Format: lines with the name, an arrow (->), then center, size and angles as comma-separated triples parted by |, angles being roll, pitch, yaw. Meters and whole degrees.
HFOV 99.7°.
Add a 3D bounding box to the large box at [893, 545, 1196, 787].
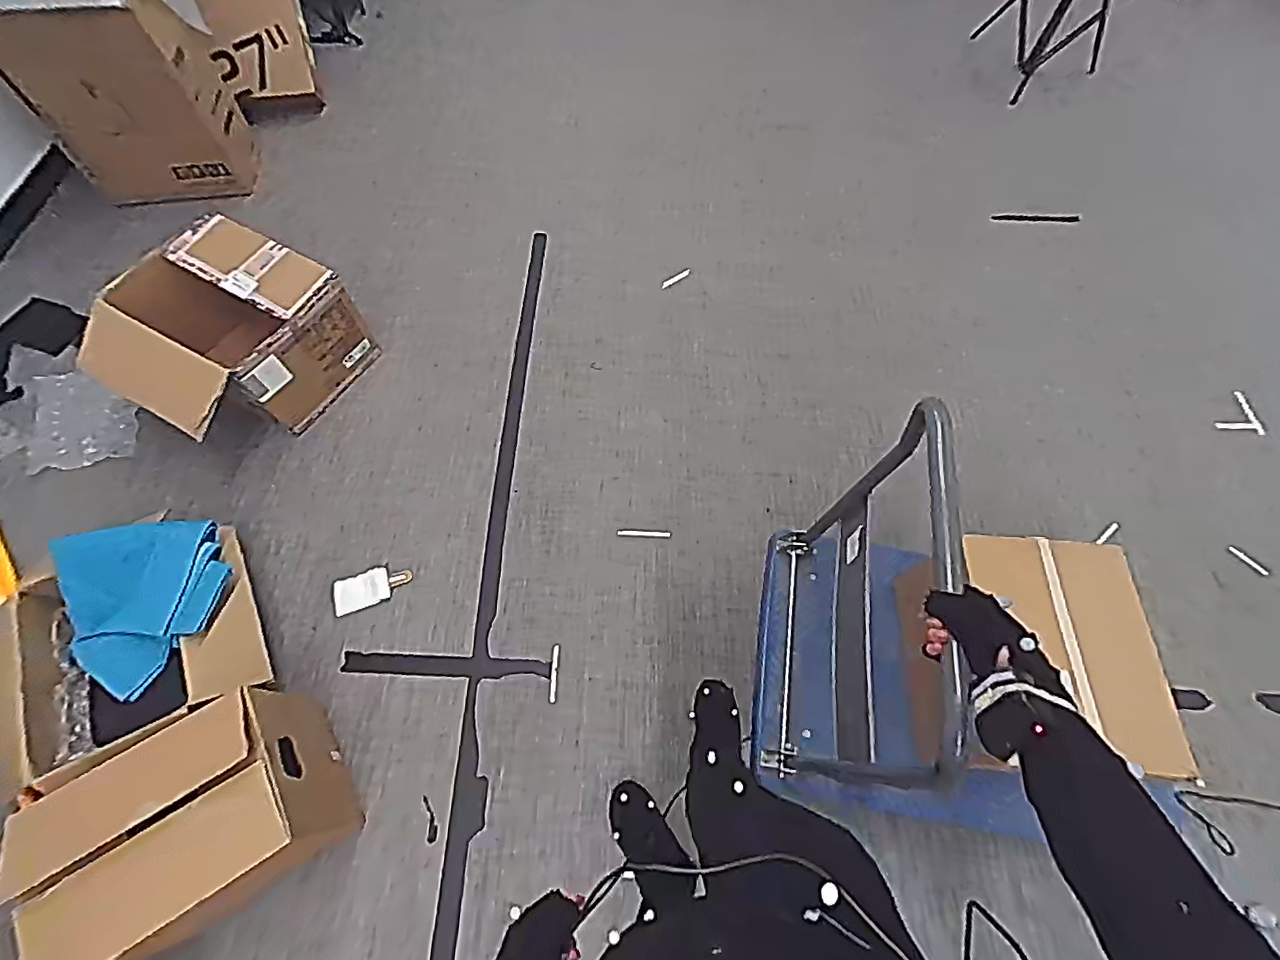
large box -> 0.755, 0.375, 1.096 | 0.320, 0.320, 0.408 | 4, 63, 1
